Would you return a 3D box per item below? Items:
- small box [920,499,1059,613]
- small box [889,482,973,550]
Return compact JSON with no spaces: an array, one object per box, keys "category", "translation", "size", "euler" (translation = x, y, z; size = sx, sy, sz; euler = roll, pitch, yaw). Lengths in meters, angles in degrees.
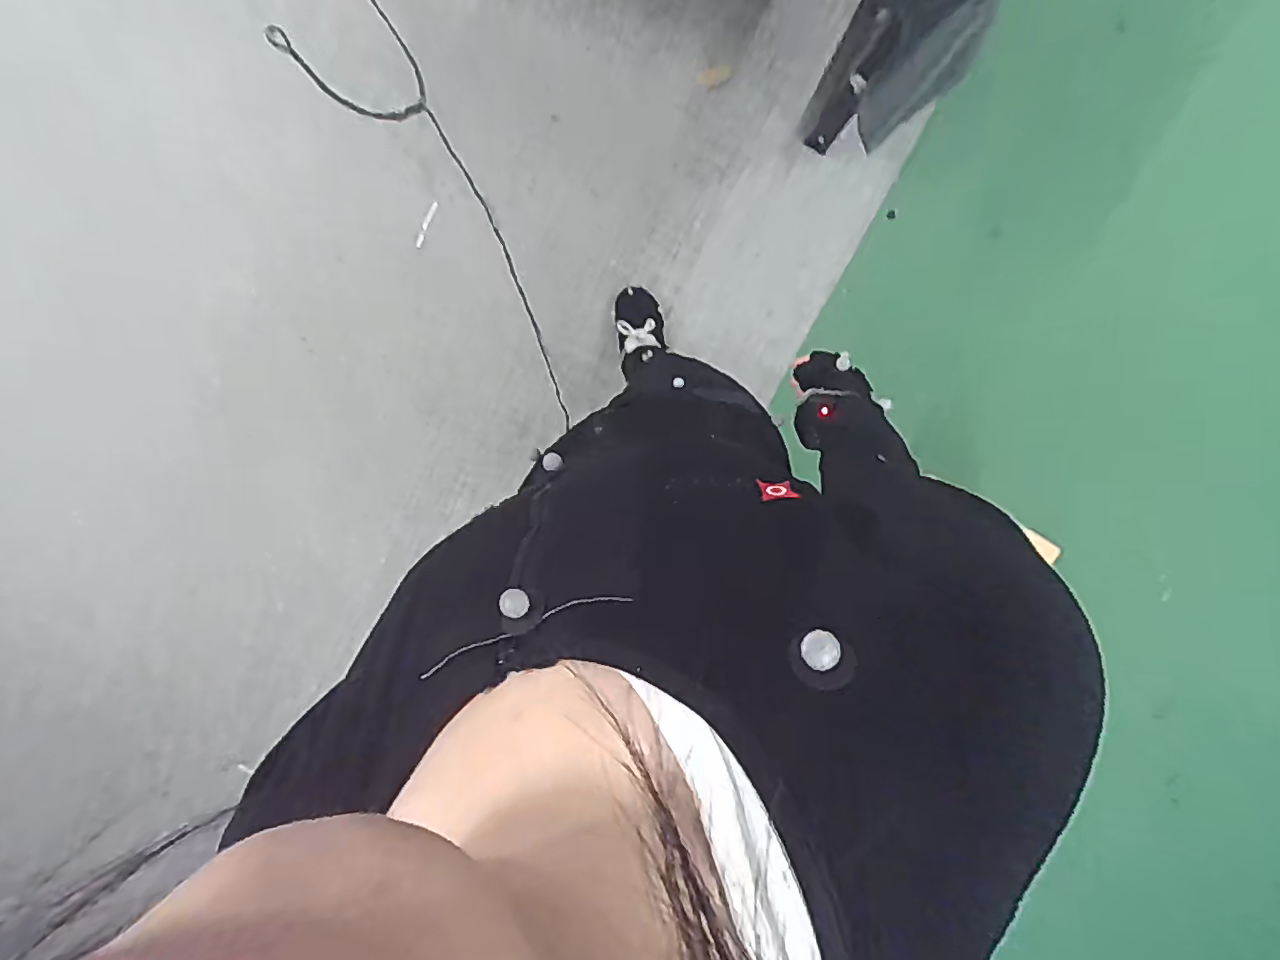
[{"category":"small box","translation":[0.789,0.165,1.245],"size":[0.168,0.176,0.179],"euler":[31,100,-5]},{"category":"small box","translation":[0.788,0.120,1.404],"size":[0.179,0.176,0.168],"euler":[32,100,-5]}]
